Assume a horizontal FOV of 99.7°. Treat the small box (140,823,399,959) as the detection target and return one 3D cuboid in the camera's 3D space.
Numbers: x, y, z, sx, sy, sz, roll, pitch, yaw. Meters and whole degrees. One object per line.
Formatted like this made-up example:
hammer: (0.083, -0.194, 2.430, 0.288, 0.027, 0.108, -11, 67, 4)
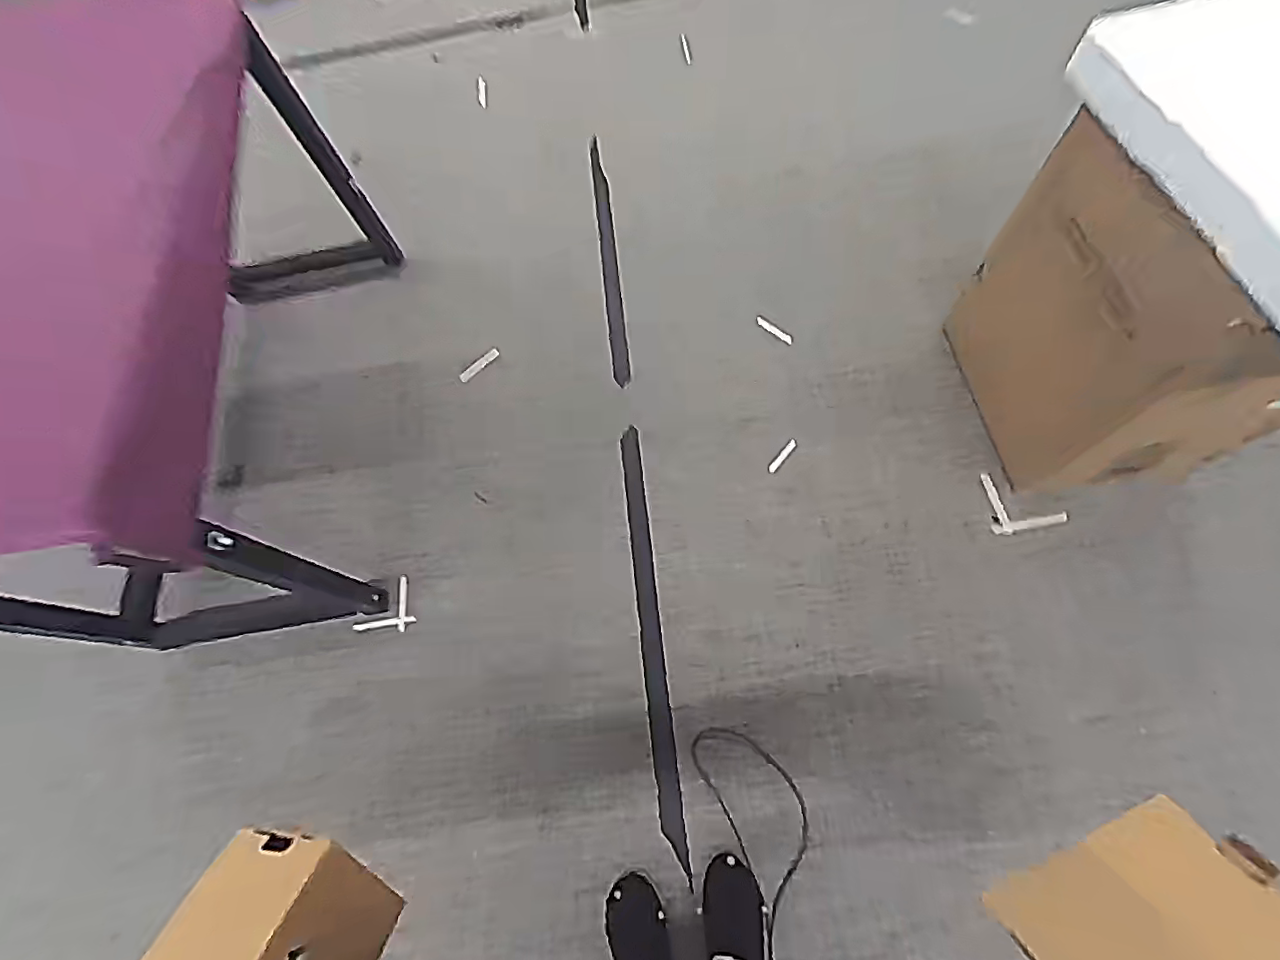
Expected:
small box: (-0.419, 0.537, 0.625, 0.168, 0.176, 0.179, -8, 31, 20)
